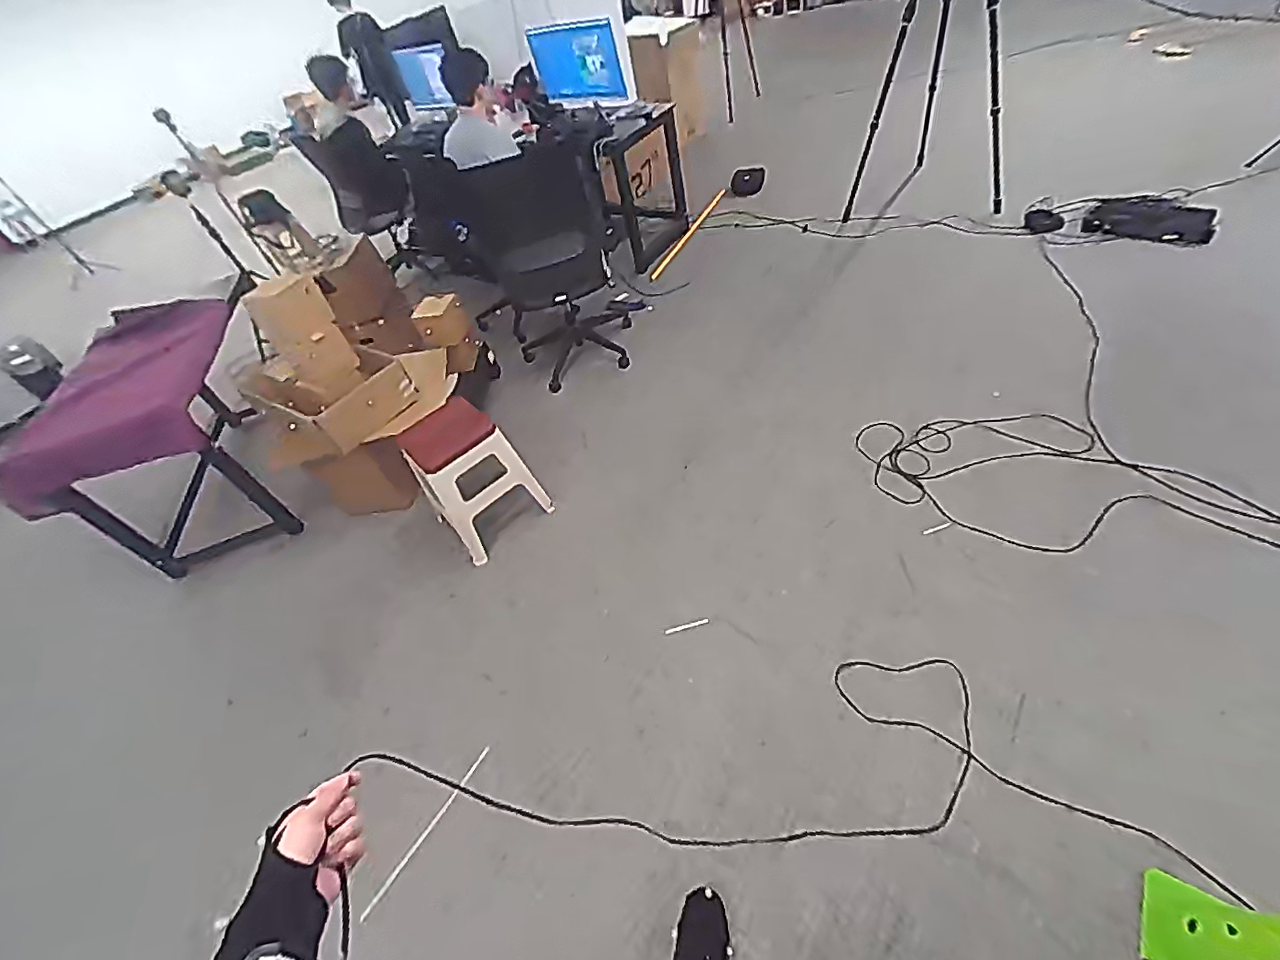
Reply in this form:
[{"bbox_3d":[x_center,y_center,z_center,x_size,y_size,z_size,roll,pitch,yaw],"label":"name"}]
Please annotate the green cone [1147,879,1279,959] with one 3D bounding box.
[{"bbox_3d":[1.062,0.798,0.904,0.200,0.368,0.202,18,54,29],"label":"green cone"}]
